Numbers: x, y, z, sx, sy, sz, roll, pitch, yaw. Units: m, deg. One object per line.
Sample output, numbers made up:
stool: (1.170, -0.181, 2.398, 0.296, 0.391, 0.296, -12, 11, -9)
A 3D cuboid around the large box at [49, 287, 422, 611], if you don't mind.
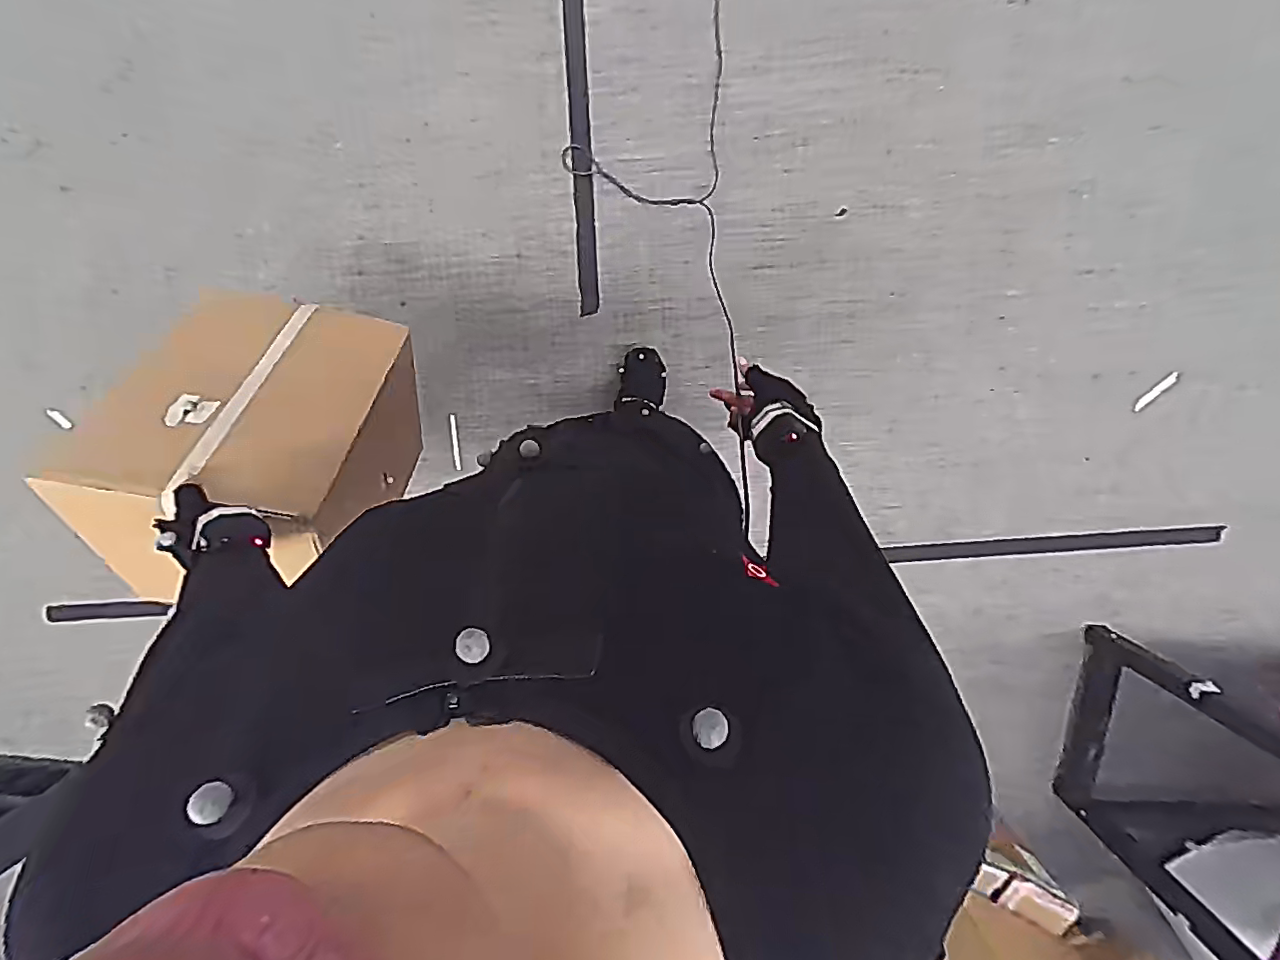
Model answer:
large box: (-0.582, -0.046, 0.899, 0.320, 0.408, 0.320, 10, 141, -7)
